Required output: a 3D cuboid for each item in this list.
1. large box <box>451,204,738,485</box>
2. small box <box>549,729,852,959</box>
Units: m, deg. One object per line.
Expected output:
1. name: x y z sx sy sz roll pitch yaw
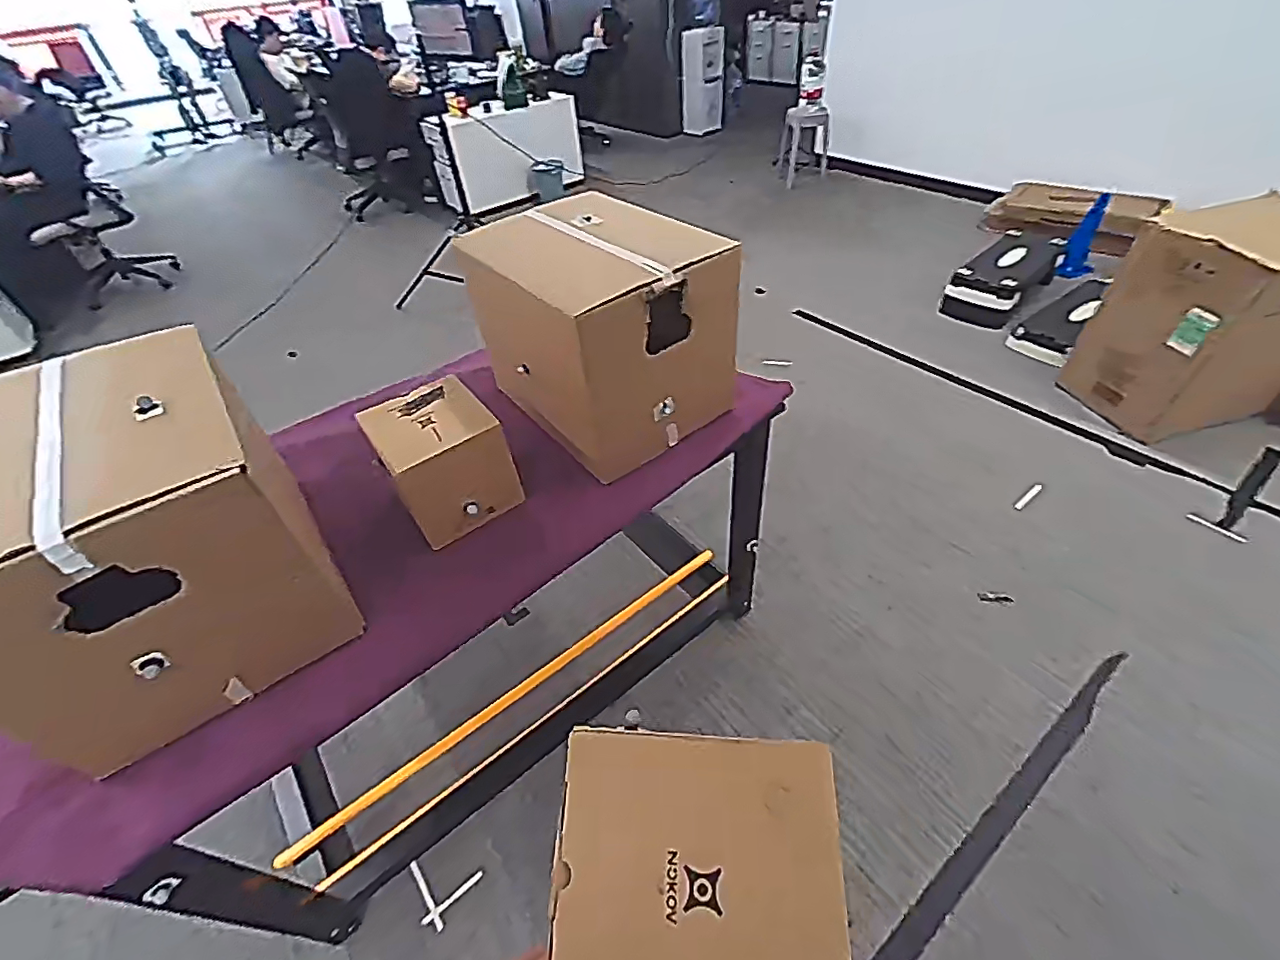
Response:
1. large box: -0.072 -0.260 0.980 0.320 0.320 0.408 -32 48 -24
2. small box: 0.045 0.277 0.397 0.179 0.176 0.168 -2 64 9
